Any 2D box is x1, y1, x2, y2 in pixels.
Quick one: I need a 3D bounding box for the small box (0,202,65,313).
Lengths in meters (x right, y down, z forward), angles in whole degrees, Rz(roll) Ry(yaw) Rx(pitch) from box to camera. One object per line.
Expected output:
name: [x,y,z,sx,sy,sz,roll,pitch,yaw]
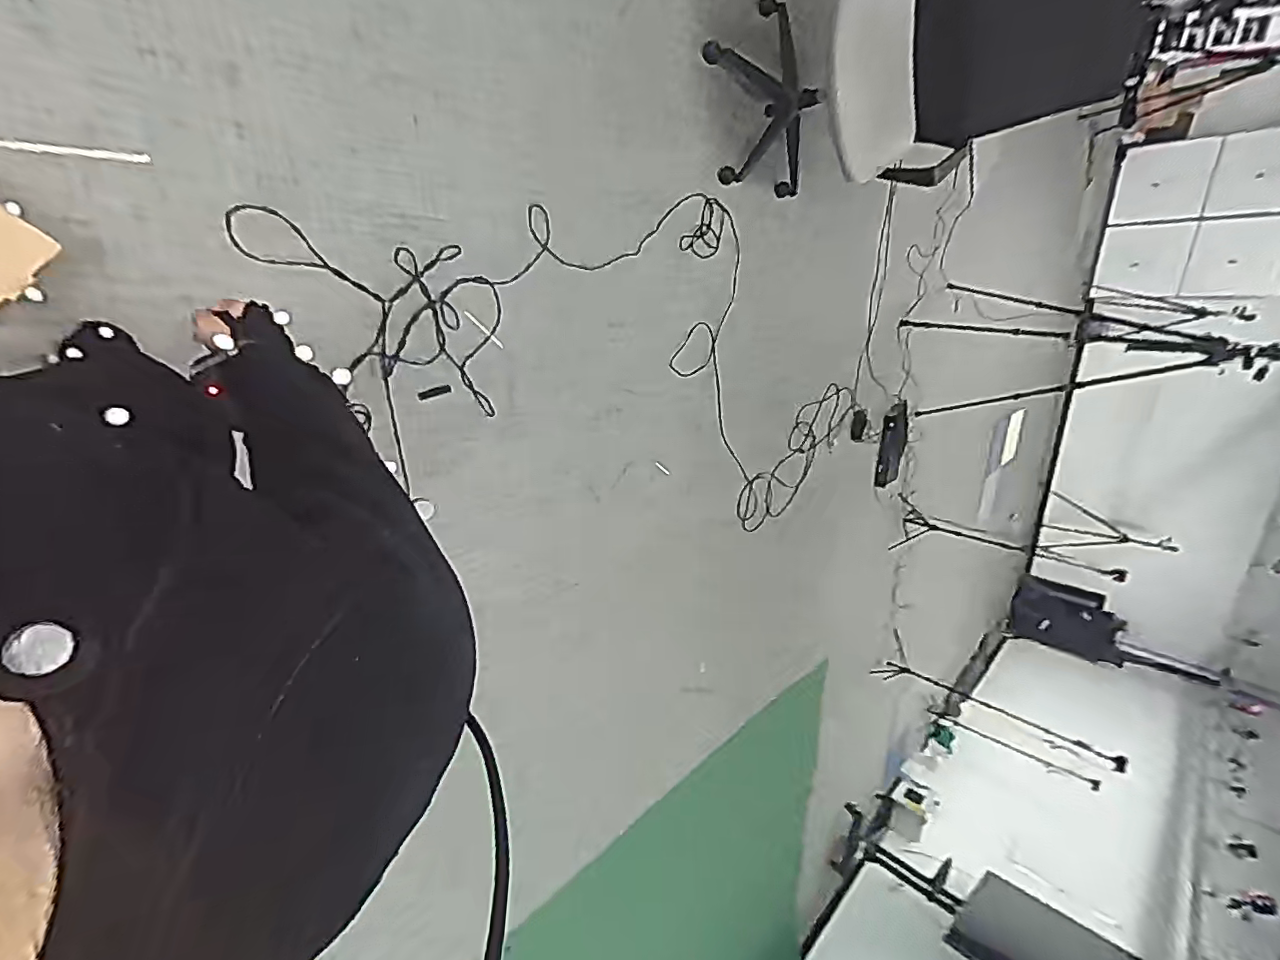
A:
small box: [-0.988,-0.344,0.774,0.168,0.176,0.179,-58,135,-15]
